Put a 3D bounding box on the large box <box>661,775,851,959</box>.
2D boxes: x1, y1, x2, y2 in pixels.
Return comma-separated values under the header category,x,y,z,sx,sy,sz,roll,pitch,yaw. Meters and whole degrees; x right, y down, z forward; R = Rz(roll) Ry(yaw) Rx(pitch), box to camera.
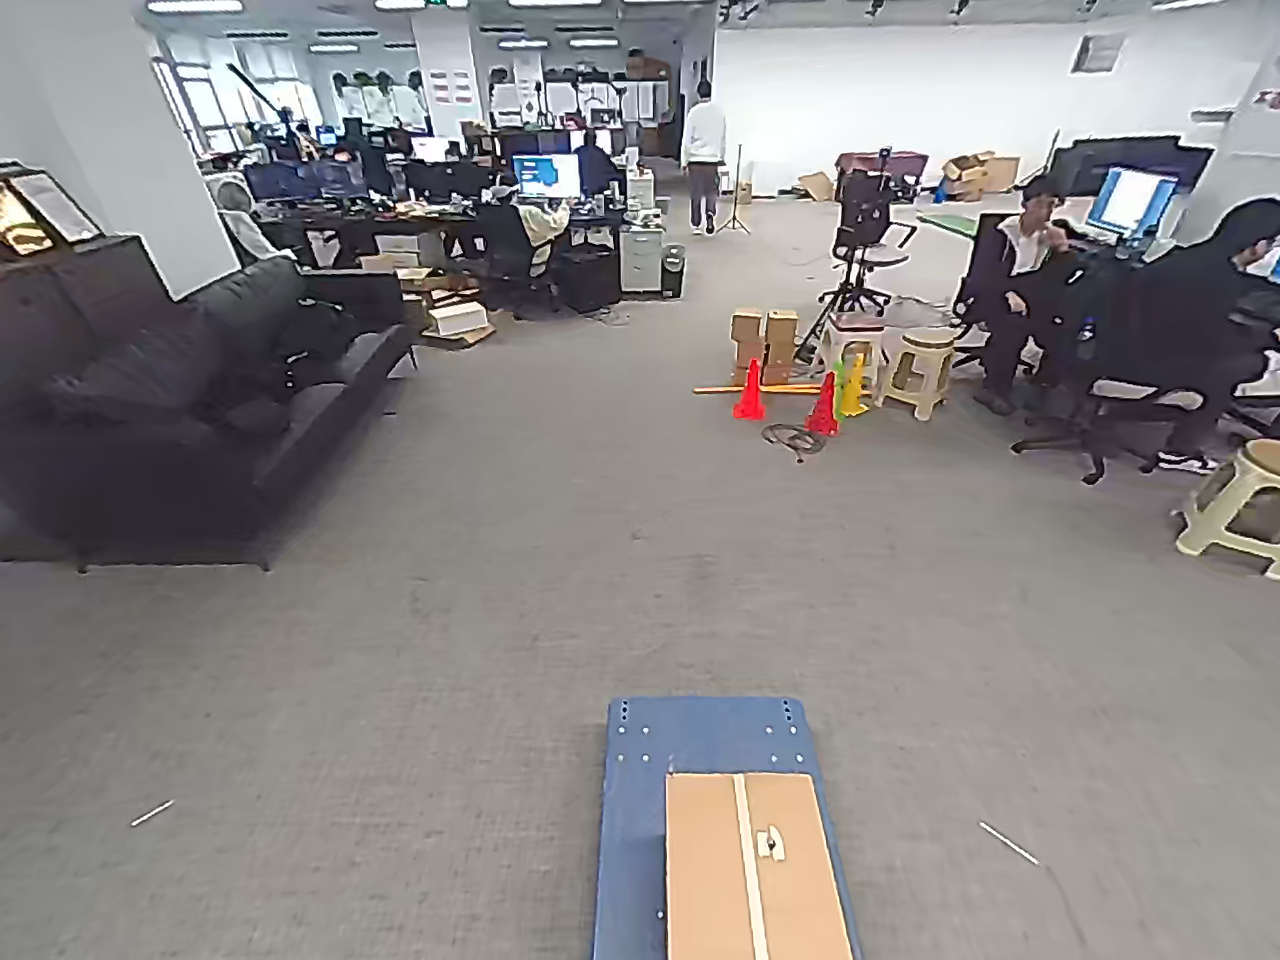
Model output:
category,x,y,z,sx,sy,sz,roll,pitch,yaw
large box,0.205,0.874,1.083,0.320,0.320,0.408,0,34,1
